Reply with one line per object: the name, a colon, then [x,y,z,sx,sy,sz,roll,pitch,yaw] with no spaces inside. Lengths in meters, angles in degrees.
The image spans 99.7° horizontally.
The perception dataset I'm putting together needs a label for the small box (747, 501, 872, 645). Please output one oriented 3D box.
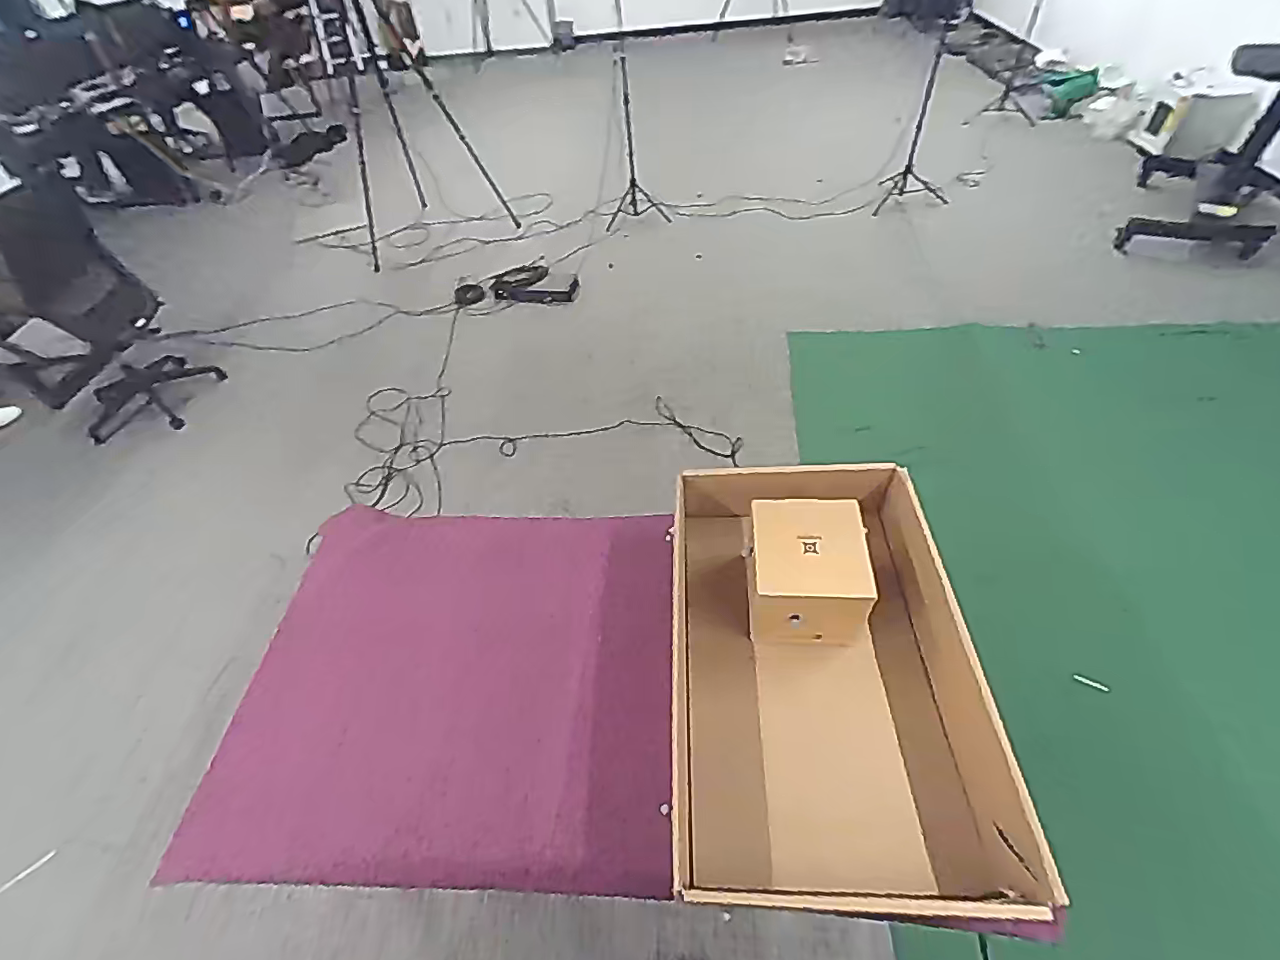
small box: [0.260,0.153,0.872,0.168,0.176,0.179,0,50,8]
